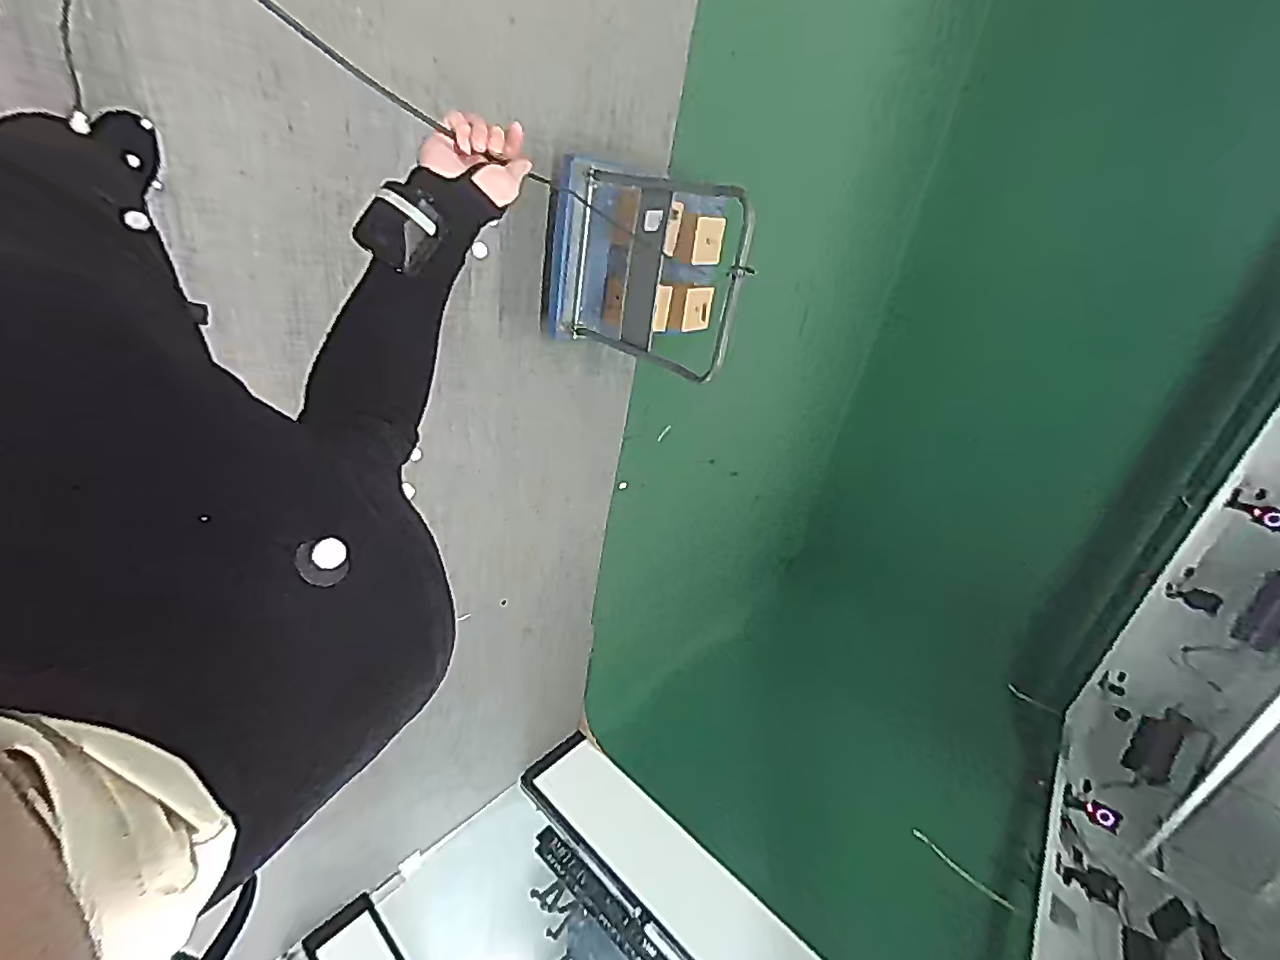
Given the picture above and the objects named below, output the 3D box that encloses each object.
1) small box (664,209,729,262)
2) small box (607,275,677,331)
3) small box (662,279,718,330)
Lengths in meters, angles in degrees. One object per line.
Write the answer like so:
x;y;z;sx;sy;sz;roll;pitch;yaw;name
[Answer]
0.212;-0.934;2.067;0.179;0.176;0.168;-23;131;-43;small box
0.006;-0.653;1.994;0.179;0.176;0.168;-17;126;-45;small box
0.187;-0.713;2.186;0.179;0.176;0.168;-22;128;-42;small box
